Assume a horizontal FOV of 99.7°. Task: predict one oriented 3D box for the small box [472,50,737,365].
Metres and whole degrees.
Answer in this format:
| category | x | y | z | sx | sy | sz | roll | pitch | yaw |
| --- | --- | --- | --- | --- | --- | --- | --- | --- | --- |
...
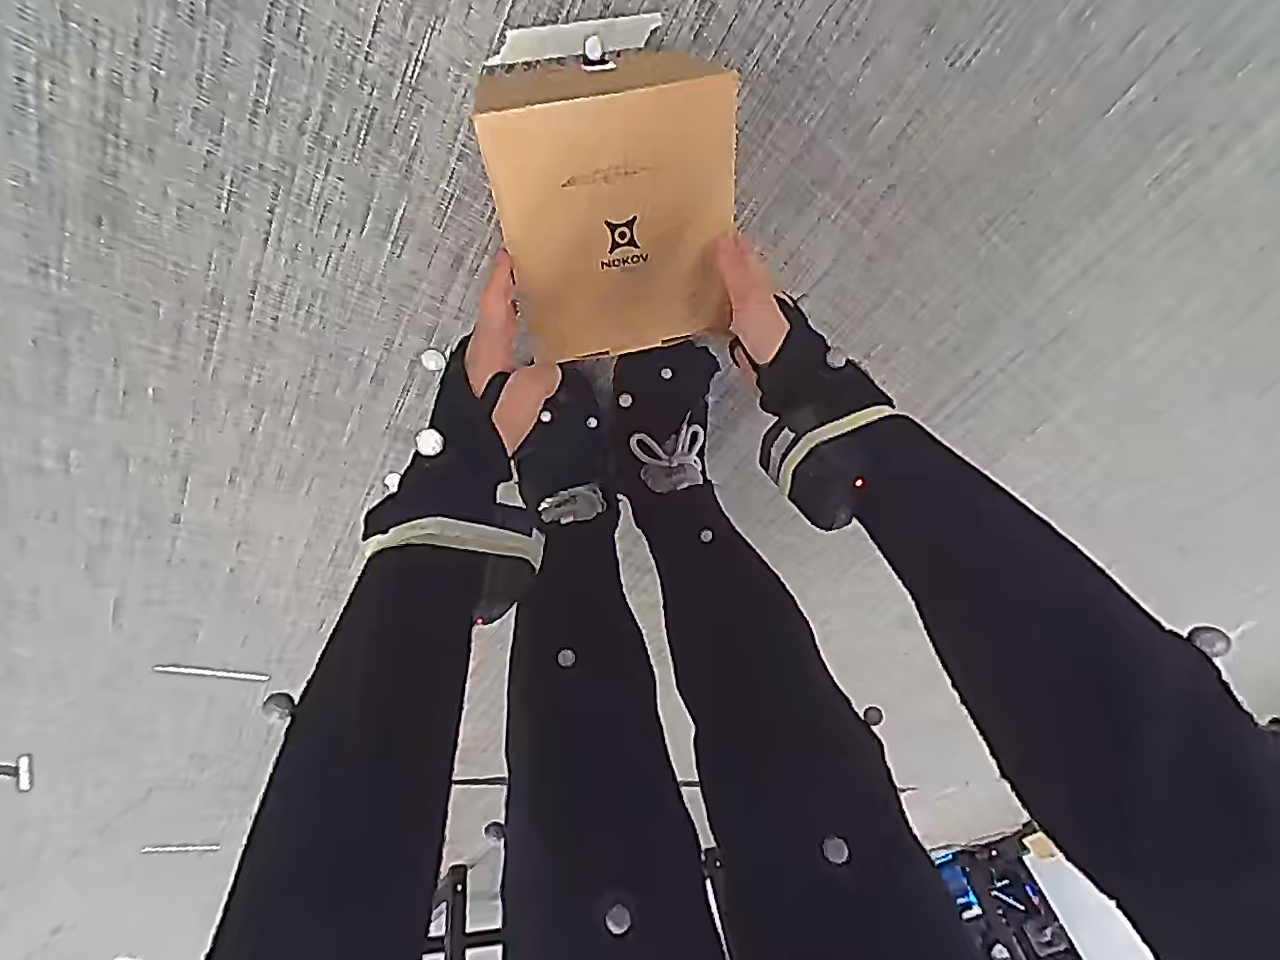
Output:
| category | x | y | z | sx | sy | sz | roll | pitch | yaw |
| --- | --- | --- | --- | --- | --- | --- | --- | --- | --- |
| small box | -0.029 | -0.224 | 0.441 | 0.168 | 0.176 | 0.179 | -13 | 134 | -5 |
